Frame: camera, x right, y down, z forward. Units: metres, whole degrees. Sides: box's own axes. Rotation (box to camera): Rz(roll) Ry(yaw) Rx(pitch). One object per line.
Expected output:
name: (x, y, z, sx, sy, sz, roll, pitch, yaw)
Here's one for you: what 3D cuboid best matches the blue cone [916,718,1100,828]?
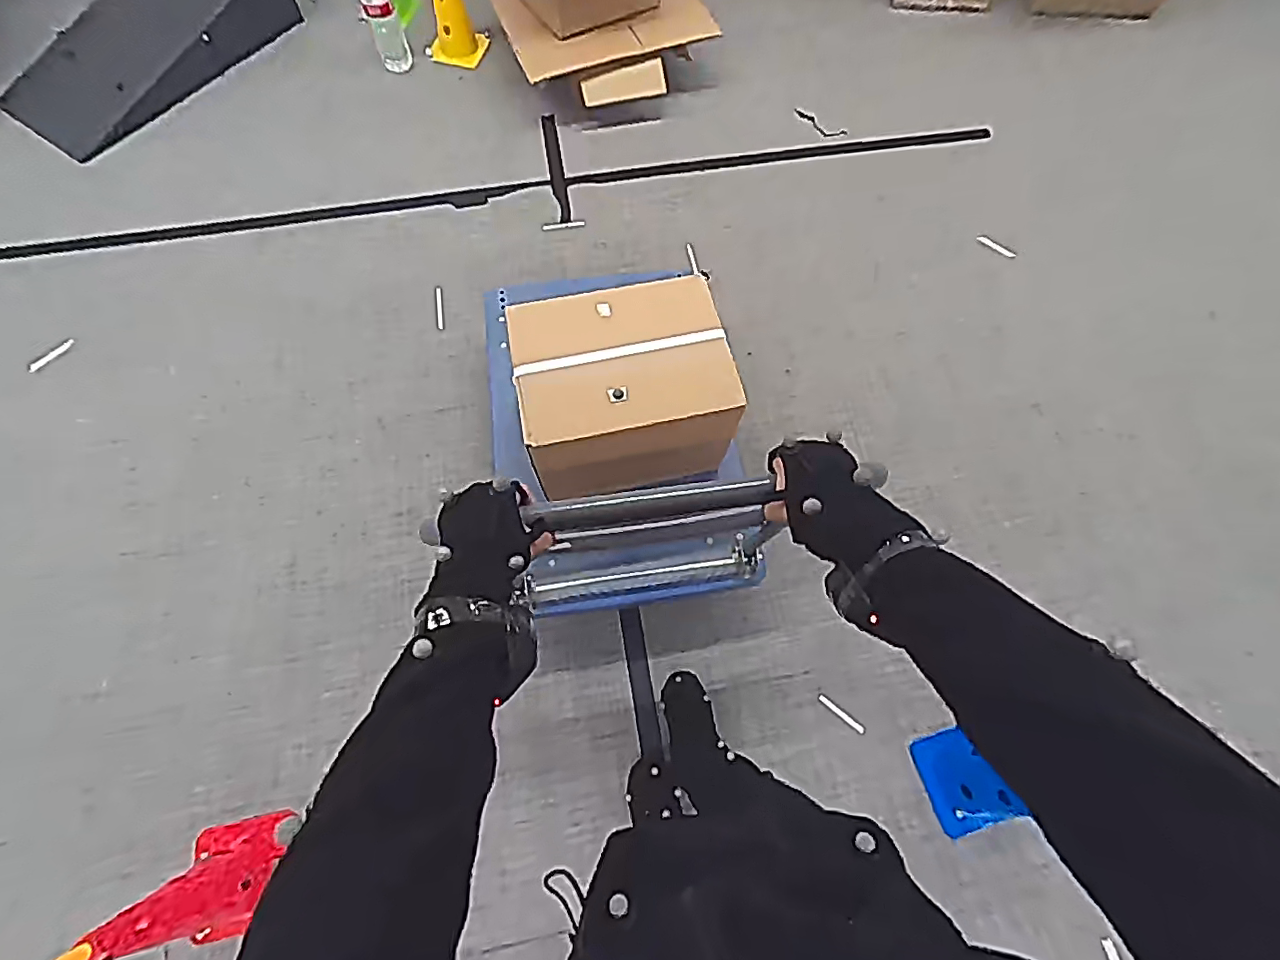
blue cone: (0.736, 0.591, 1.053, 0.193, 0.380, 0.192, -13, 69, -7)
